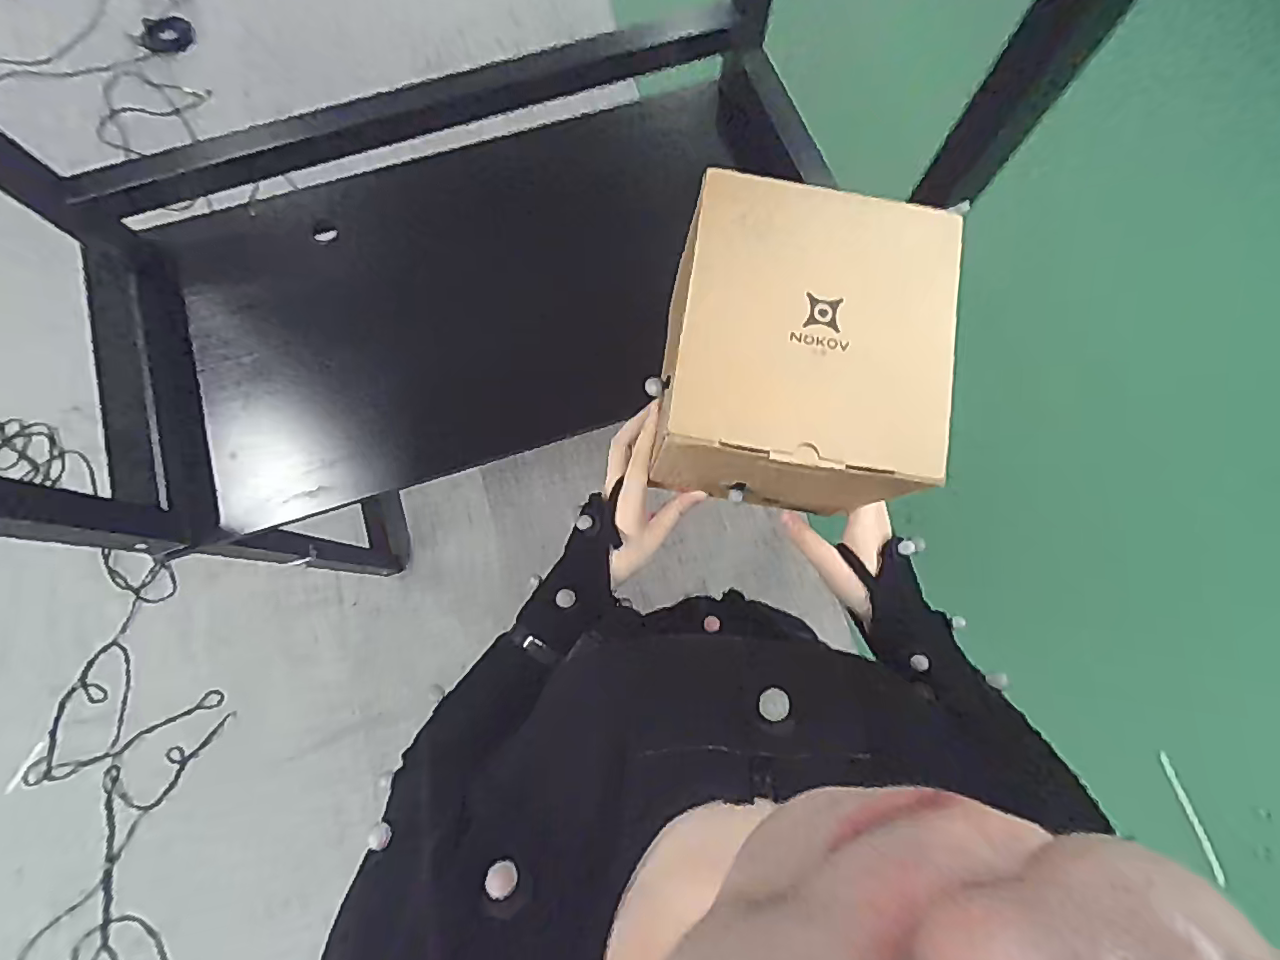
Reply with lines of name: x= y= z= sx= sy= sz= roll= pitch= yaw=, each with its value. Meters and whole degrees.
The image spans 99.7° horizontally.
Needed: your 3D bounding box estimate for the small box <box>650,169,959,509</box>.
small box: x=0.103 y=-0.084 z=0.403 sx=0.168 sy=0.176 sz=0.179 roll=10 pitch=81 yaw=-1
